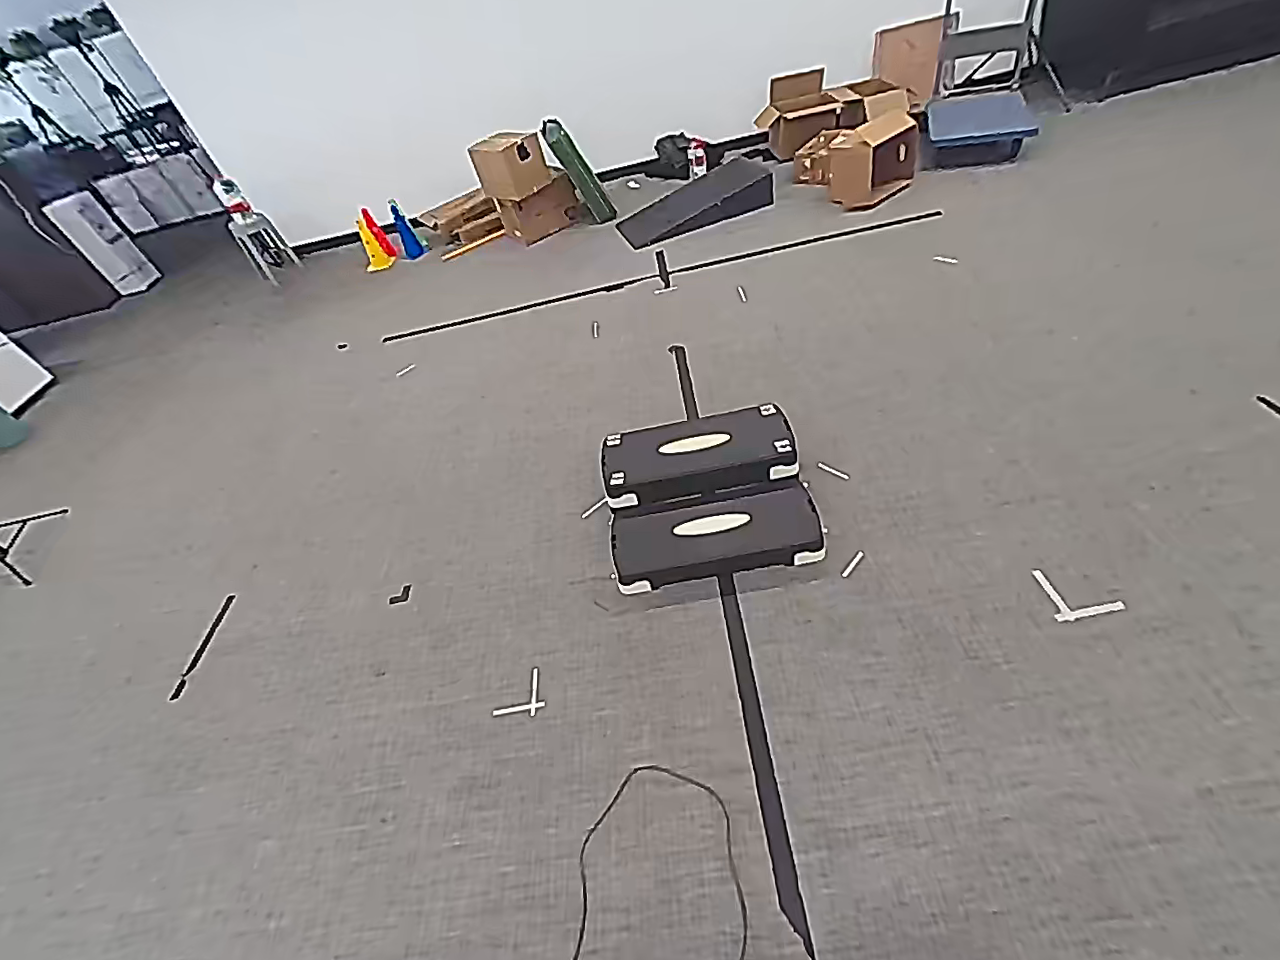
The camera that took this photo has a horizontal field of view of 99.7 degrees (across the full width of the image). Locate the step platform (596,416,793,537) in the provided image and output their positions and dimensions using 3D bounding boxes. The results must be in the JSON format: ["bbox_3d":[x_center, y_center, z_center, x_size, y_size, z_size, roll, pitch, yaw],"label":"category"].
[{"bbox_3d":[0.186,-0.018,1.924,0.684,0.204,0.286,-11,45,3],"label":"step platform"}]
